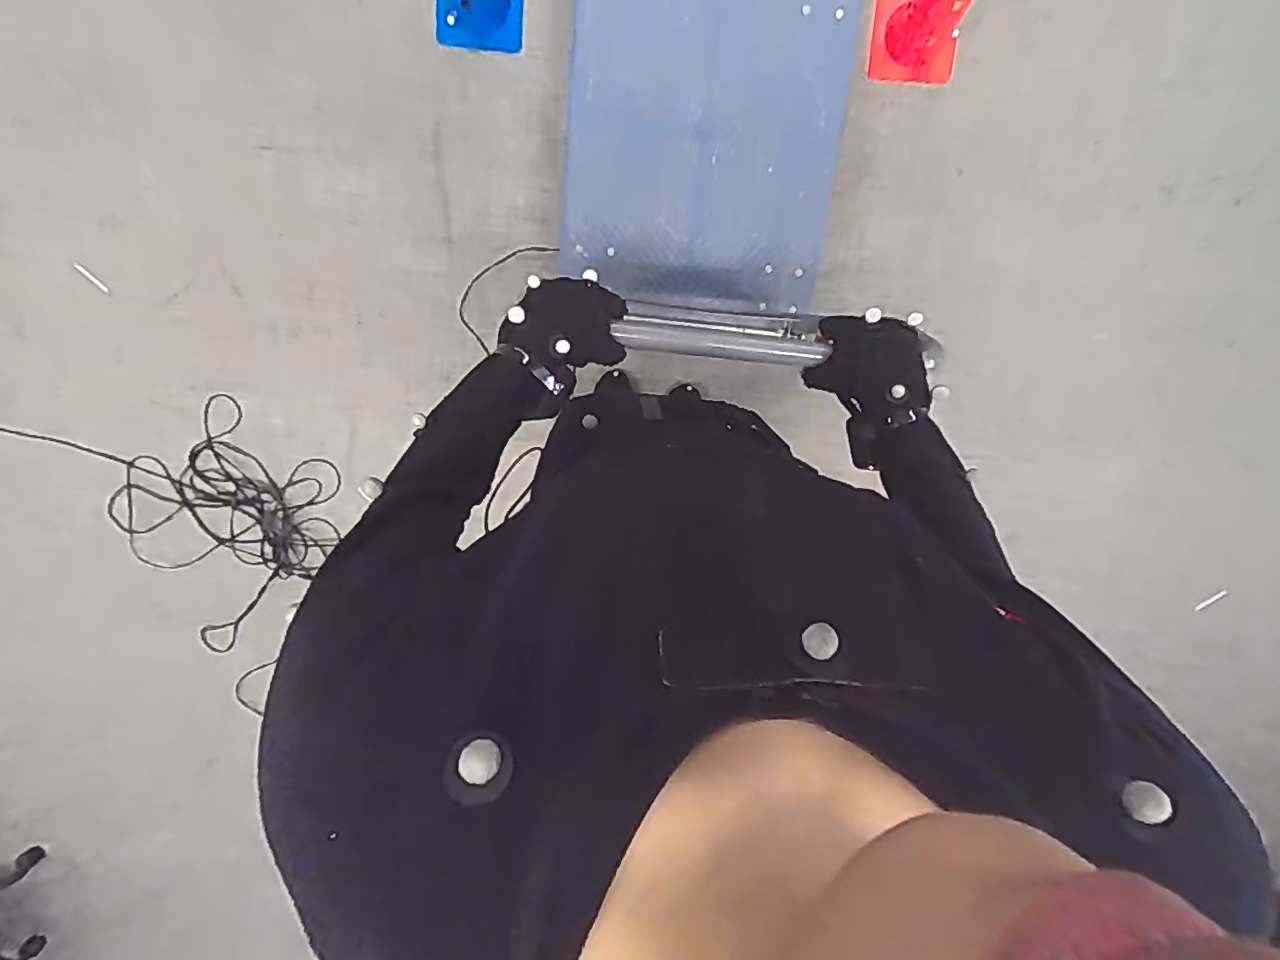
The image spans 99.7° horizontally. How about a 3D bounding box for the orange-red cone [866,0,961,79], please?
[{"bbox_3d":[0.633,-1.015,1.093,0.199,0.360,0.198,5,102,0],"label":"orange-red cone"}]
